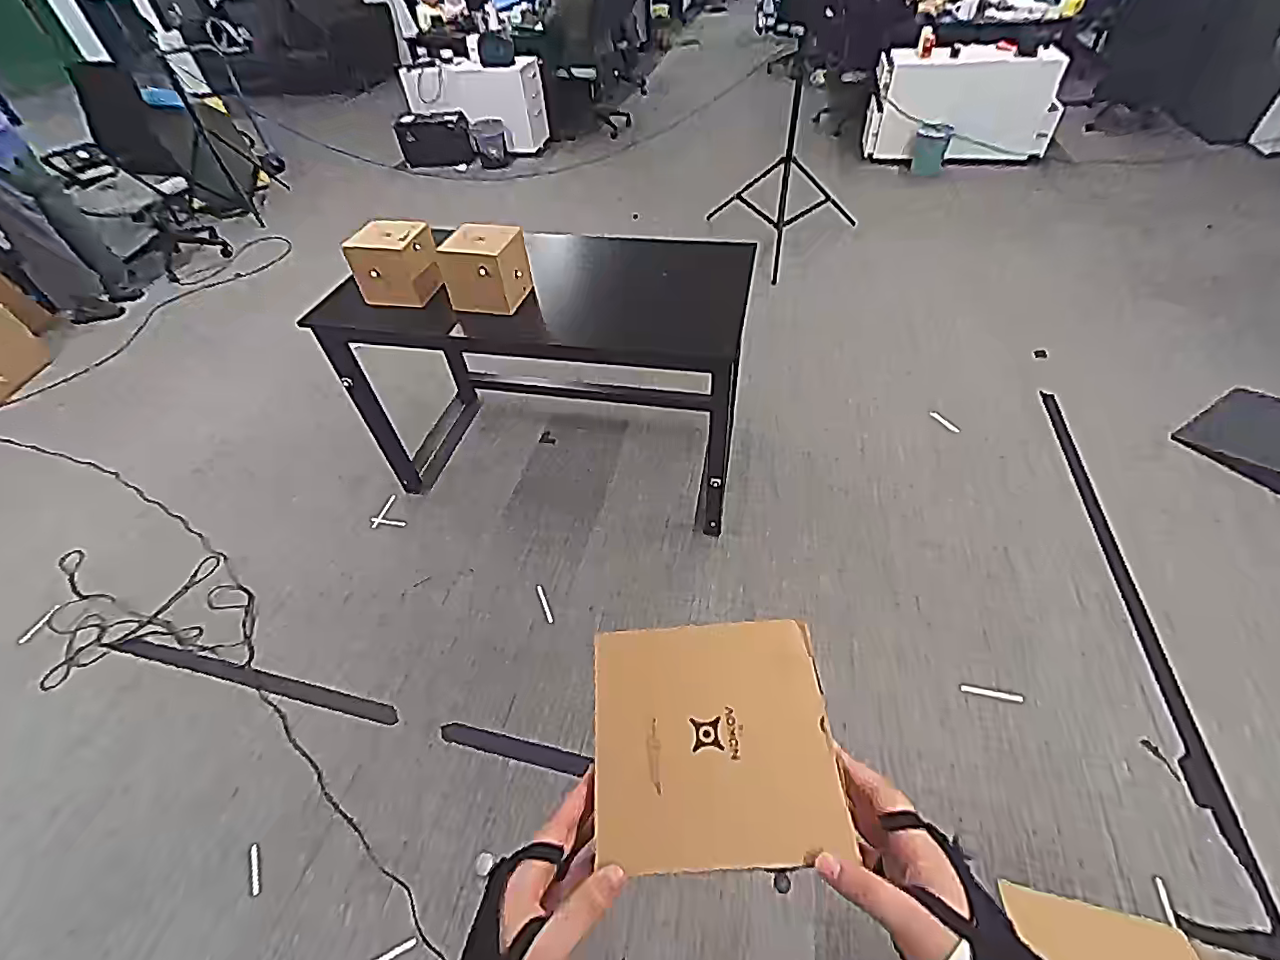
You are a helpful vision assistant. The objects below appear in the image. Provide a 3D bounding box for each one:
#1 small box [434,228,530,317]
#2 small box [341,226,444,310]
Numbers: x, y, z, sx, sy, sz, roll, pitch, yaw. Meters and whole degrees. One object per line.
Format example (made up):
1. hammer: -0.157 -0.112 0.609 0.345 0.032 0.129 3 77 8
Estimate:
1. small box: -0.416 -0.559 1.463 0.179 0.176 0.168 8 48 12
2. small box: -0.682 -0.591 1.515 0.179 0.176 0.168 5 48 10
